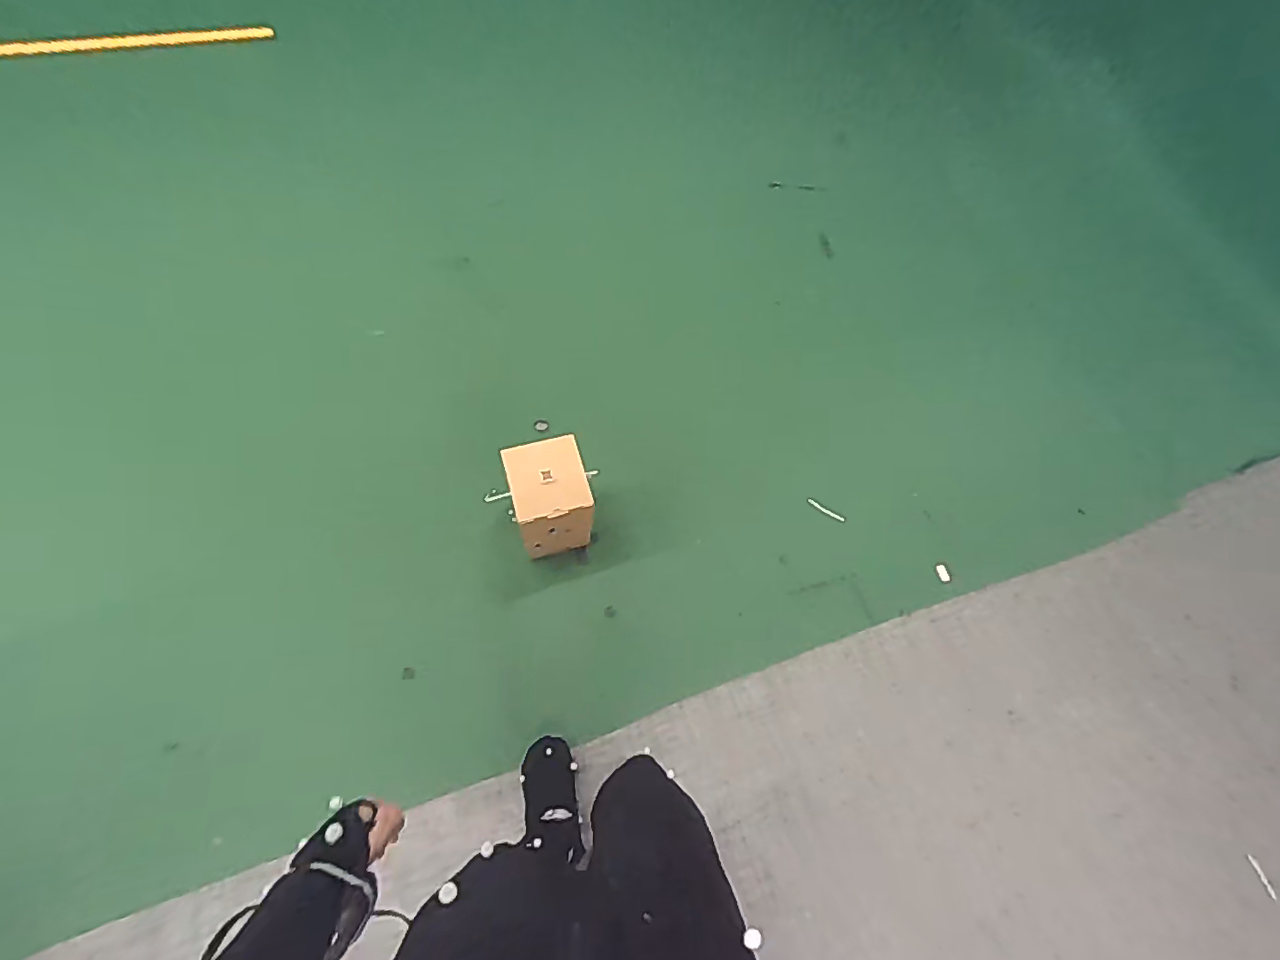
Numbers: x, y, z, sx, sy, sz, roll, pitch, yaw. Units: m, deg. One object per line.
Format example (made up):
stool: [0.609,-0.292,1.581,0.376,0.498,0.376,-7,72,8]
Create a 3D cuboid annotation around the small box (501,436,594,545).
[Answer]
small box: [-0.211,0.028,1.232,0.168,0.176,0.179,-14,70,-14]
